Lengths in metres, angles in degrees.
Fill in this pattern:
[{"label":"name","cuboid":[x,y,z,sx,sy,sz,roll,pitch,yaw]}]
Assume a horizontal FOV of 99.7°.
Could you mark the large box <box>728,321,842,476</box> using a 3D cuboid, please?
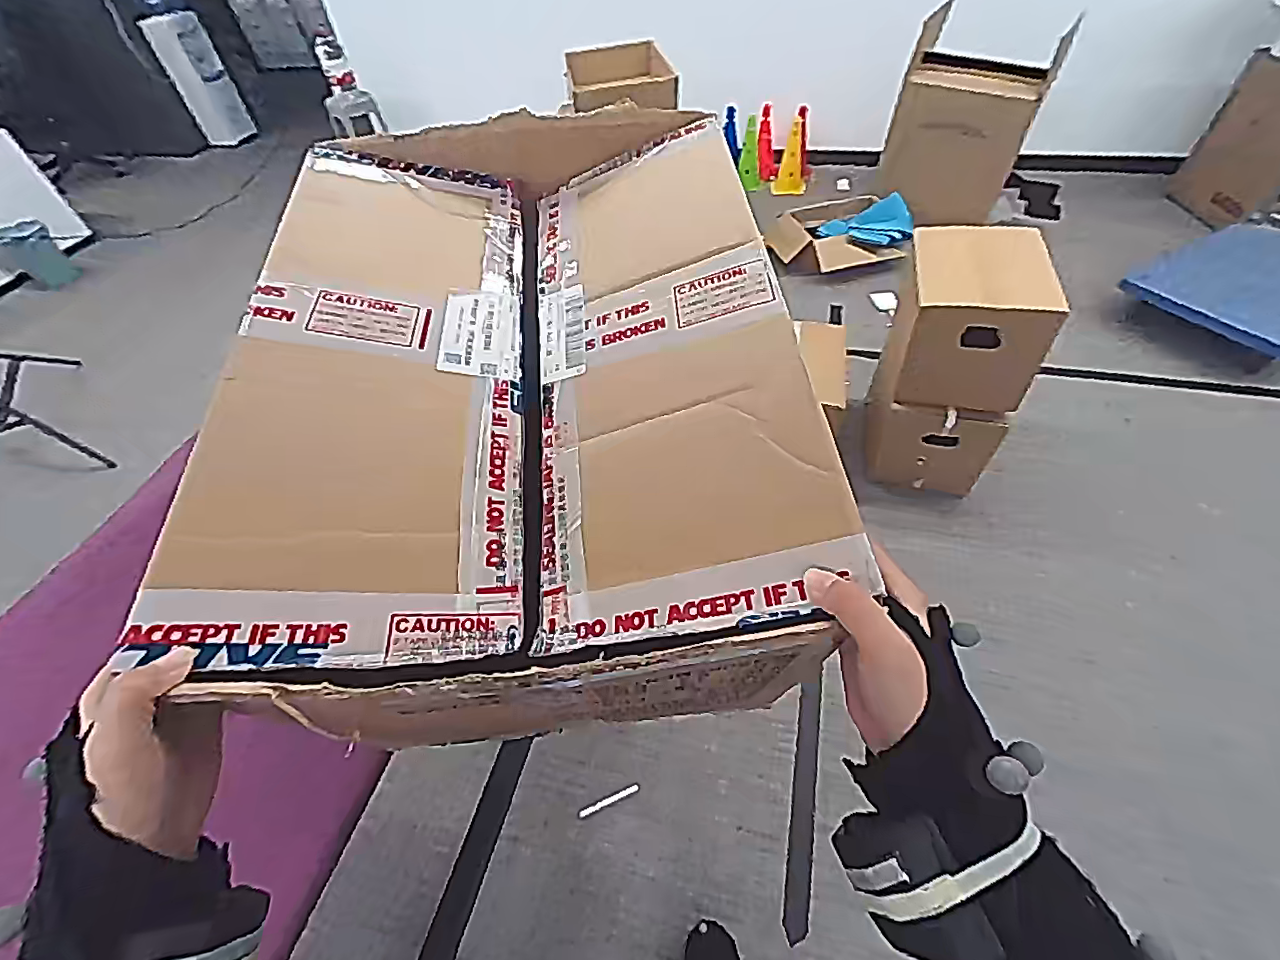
[{"label":"large box","cuboid":[0.477,-0.275,1.800,0.320,0.320,0.408,7,52,12]}]
